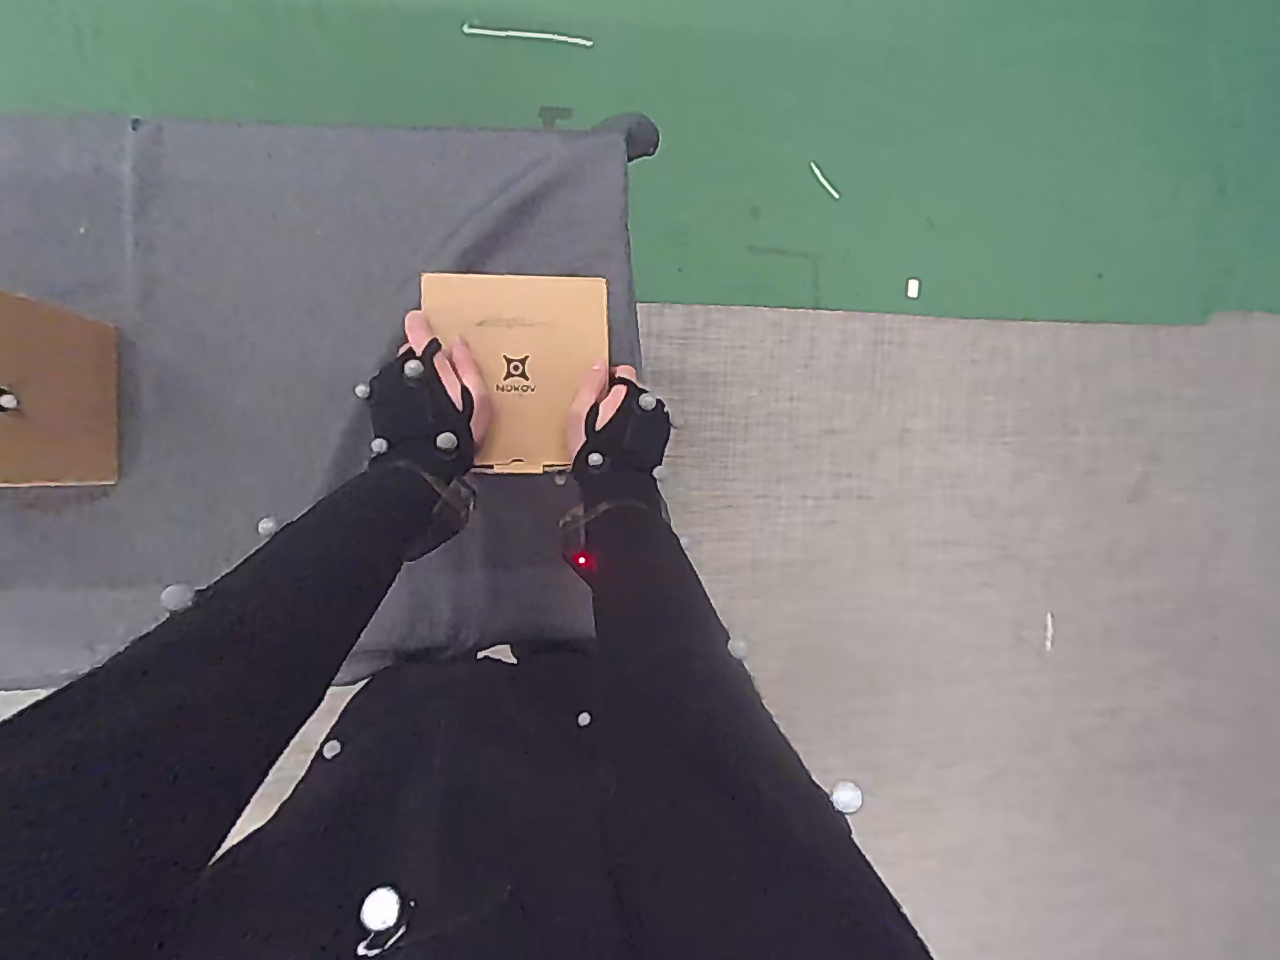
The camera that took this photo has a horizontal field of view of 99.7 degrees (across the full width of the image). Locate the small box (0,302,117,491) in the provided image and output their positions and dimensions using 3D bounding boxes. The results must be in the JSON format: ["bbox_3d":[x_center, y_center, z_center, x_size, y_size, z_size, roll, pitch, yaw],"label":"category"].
[{"bbox_3d":[-0.645,-0.076,0.506,0.168,0.176,0.179,0,90,-6],"label":"small box"}]

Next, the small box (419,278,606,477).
[{"bbox_3d":[-0.121,-0.093,0.564,0.168,0.176,0.179,-2,90,-7],"label":"small box"}]
